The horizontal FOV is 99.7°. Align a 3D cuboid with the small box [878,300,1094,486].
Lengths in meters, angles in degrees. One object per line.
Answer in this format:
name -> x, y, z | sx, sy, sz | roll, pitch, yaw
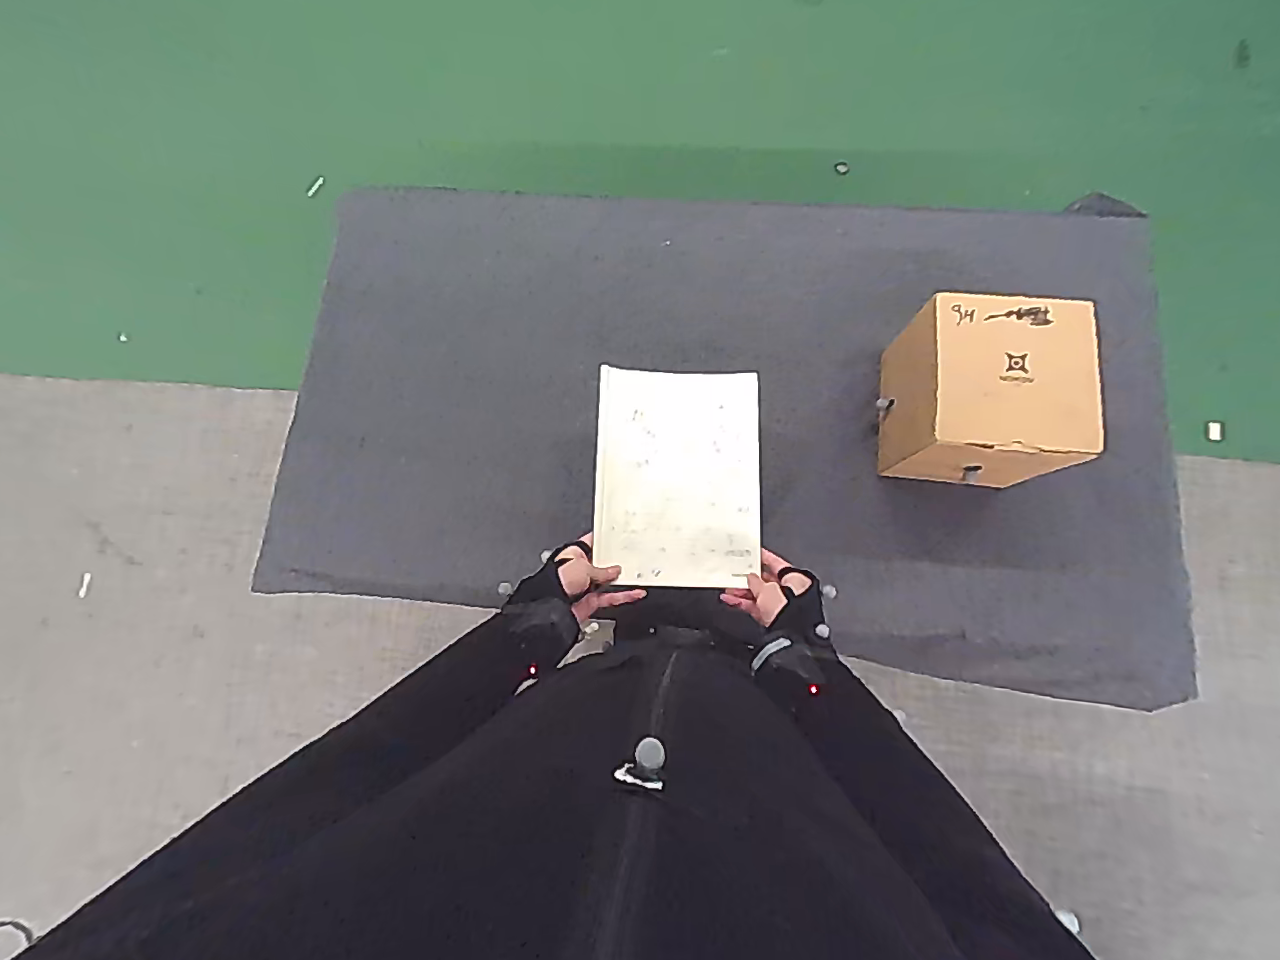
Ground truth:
small box -> 0.403, -0.093, 0.656 | 0.168, 0.176, 0.179 | 6, 80, 5
